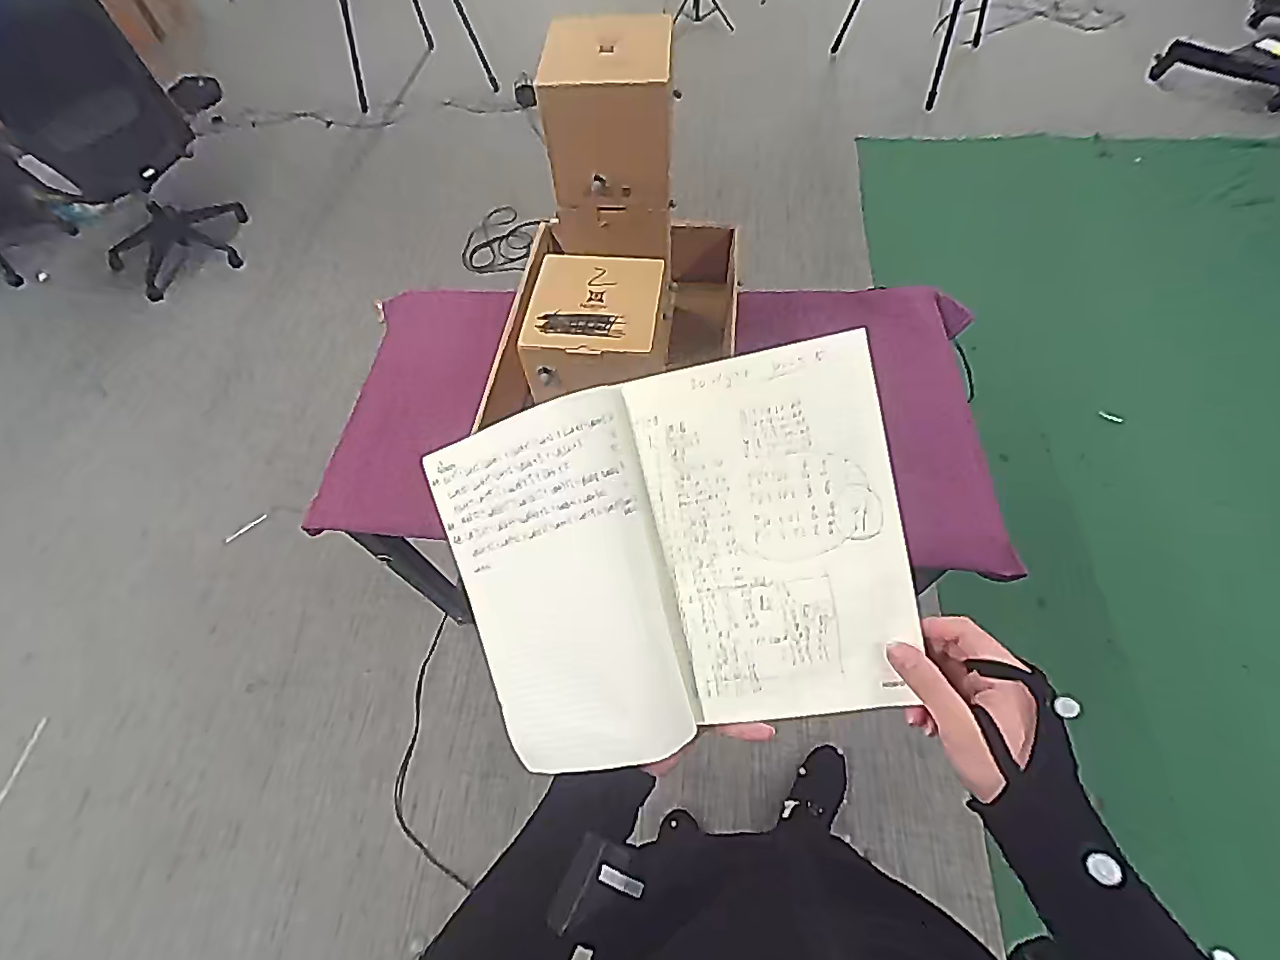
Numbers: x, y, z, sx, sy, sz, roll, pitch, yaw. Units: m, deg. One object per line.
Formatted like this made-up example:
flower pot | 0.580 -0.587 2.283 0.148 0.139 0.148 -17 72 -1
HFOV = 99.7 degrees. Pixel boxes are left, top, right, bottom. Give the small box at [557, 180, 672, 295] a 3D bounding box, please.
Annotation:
small box | -0.033 -0.430 0.906 0.168 0.176 0.179 2 60 4

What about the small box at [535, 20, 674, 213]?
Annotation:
small box | -0.039 -0.509 0.764 0.168 0.176 0.179 2 62 4

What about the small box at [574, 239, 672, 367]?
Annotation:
small box | -0.025 -0.343 1.045 0.168 0.176 0.179 2 62 4
